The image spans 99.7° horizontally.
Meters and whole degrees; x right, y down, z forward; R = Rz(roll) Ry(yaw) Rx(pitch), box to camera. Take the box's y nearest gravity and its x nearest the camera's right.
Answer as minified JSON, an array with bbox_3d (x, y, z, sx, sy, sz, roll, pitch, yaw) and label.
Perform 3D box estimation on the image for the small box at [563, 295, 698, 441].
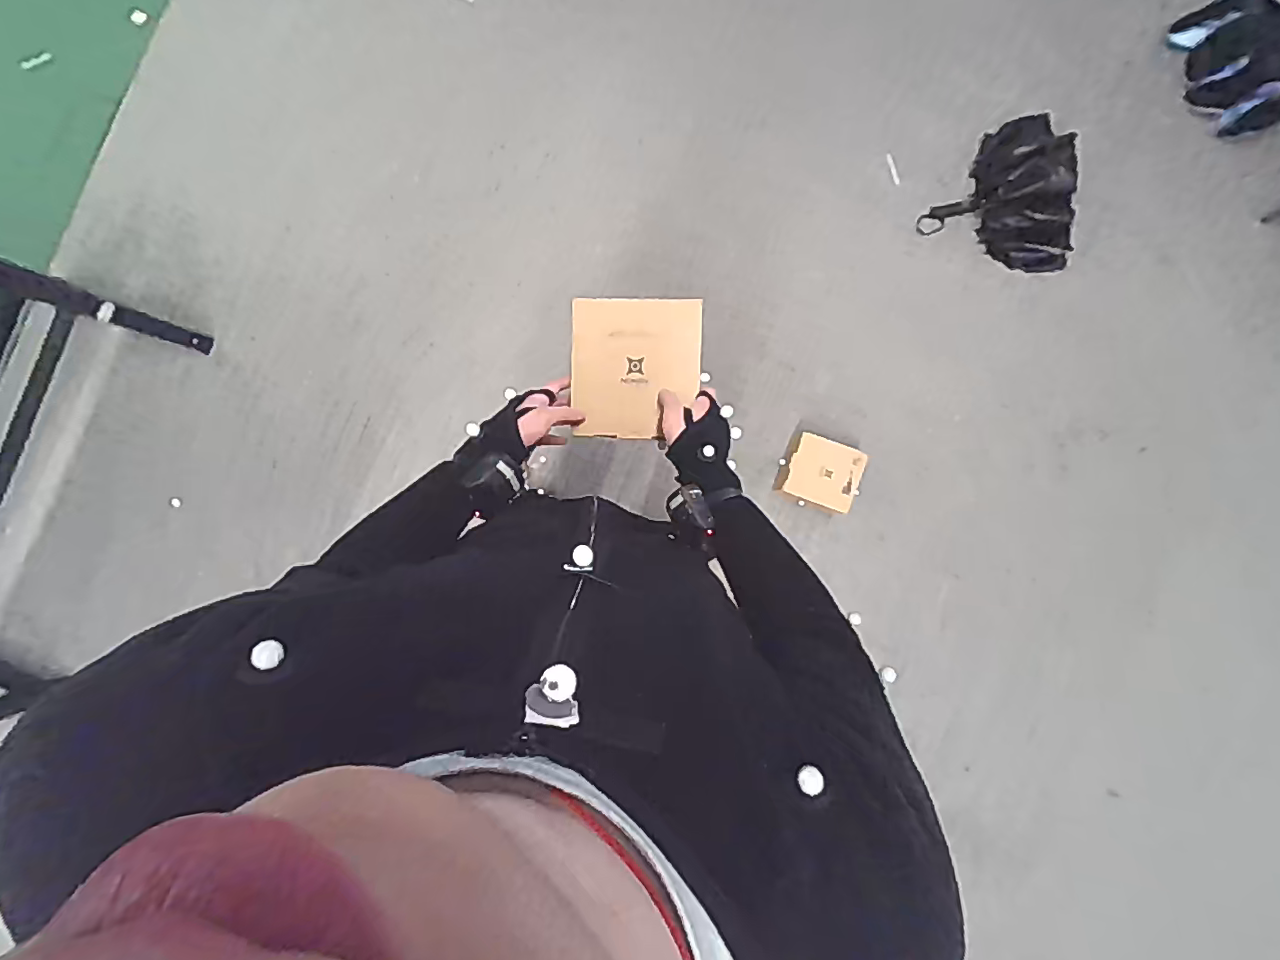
[{"bbox_3d":[-0.009,-0.143,0.743,0.168,0.176,0.179,1,93,2],"label":"small box"}]

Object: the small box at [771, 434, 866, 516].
[{"bbox_3d":[0.466,-0.008,1.442,0.179,0.176,0.168,21,89,5],"label":"small box"}]
